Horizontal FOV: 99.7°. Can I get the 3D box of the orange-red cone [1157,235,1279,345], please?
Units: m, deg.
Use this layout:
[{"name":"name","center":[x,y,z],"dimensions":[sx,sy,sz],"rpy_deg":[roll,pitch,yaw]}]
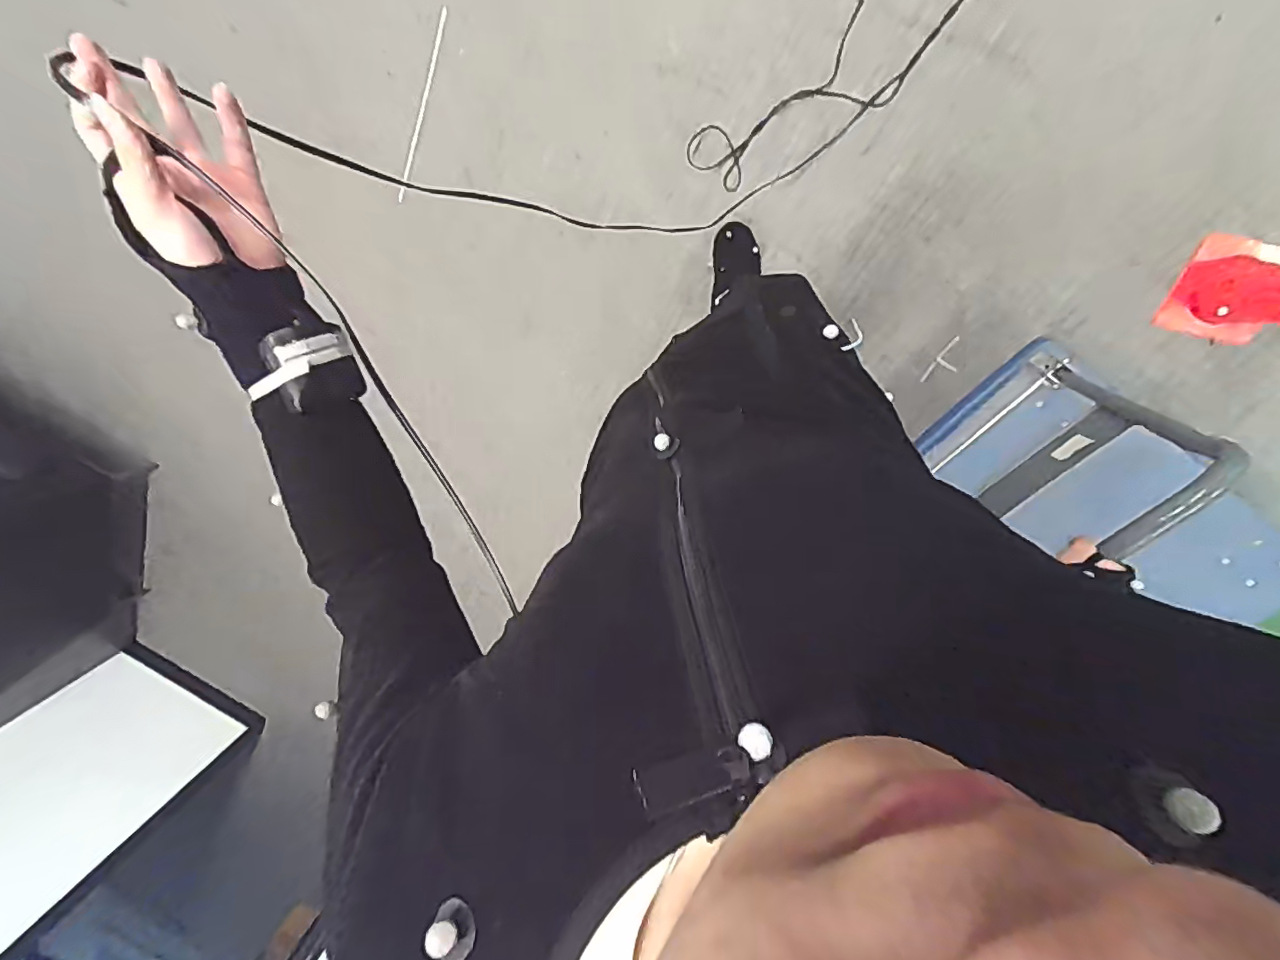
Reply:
[{"name":"orange-red cone","center":[1.247,-0.347,1.033],"dimensions":[0.198,0.360,0.199],"rpy_deg":[19,116,6]}]
